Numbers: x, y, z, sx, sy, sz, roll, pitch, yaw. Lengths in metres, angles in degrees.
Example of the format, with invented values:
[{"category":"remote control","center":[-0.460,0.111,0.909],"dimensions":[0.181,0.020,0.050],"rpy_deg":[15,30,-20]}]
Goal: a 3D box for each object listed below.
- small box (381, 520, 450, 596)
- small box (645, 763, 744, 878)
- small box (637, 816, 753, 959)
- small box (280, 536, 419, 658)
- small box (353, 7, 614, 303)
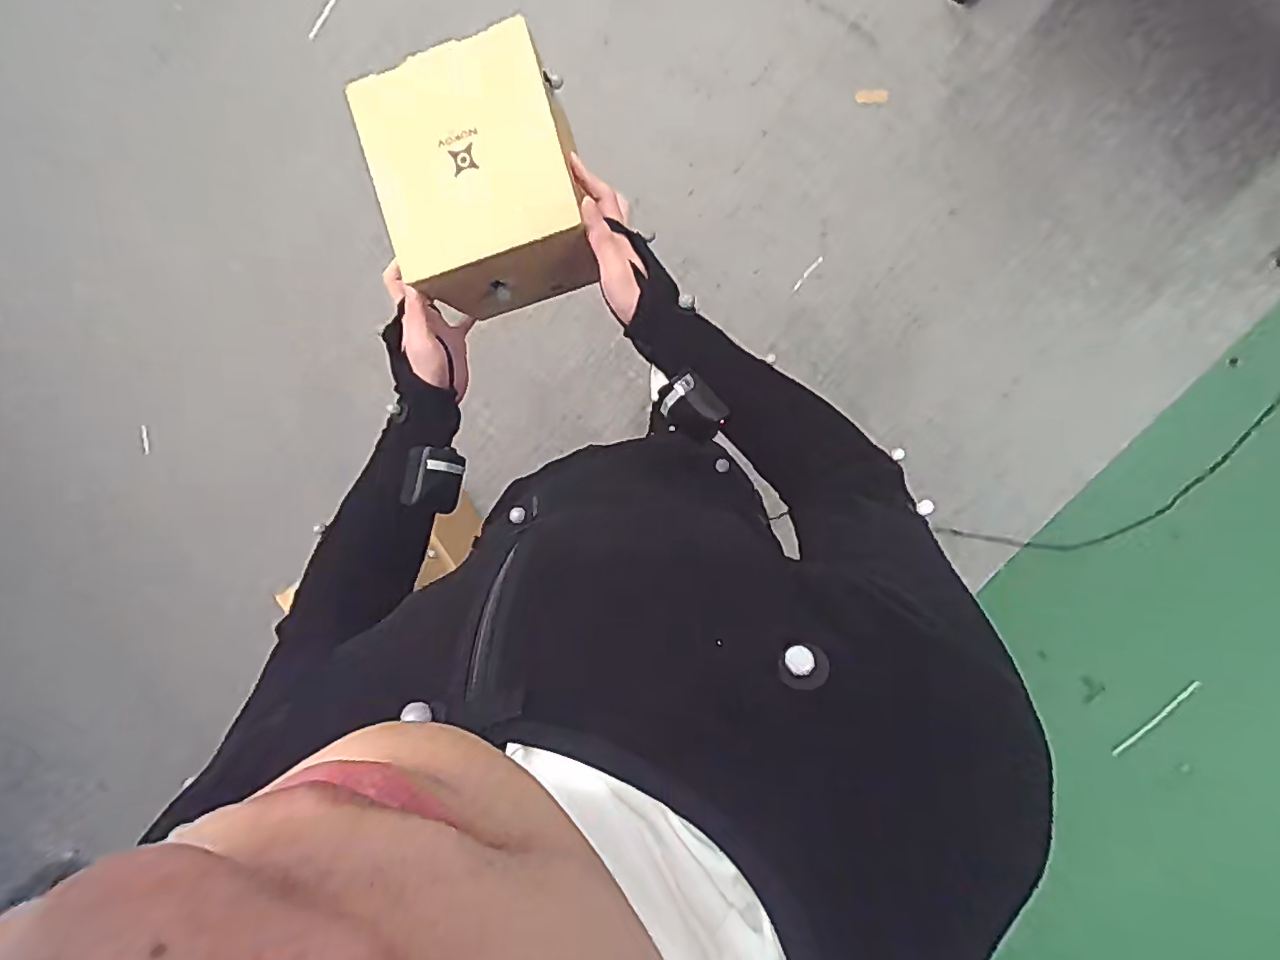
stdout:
[{"category":"small box","center":[-0.605,0.220,1.329],"dimensions":[0.179,0.176,0.168],"rpy_deg":[-30,95,7]},{"category":"small box","center":[0.116,0.756,1.181],"dimensions":[0.179,0.176,0.168],"rpy_deg":[11,100,3]},{"category":"small box","center":[0.102,0.776,1.019],"dimensions":[0.179,0.176,0.168],"rpy_deg":[12,100,4]},{"category":"small box","center":[-0.610,0.242,1.167],"dimensions":[0.179,0.176,0.168],"rpy_deg":[-32,94,8]},{"category":"small box","center":[-0.133,-0.287,0.530],"dimensions":[0.168,0.176,0.179],"rpy_deg":[-15,94,8]}]
